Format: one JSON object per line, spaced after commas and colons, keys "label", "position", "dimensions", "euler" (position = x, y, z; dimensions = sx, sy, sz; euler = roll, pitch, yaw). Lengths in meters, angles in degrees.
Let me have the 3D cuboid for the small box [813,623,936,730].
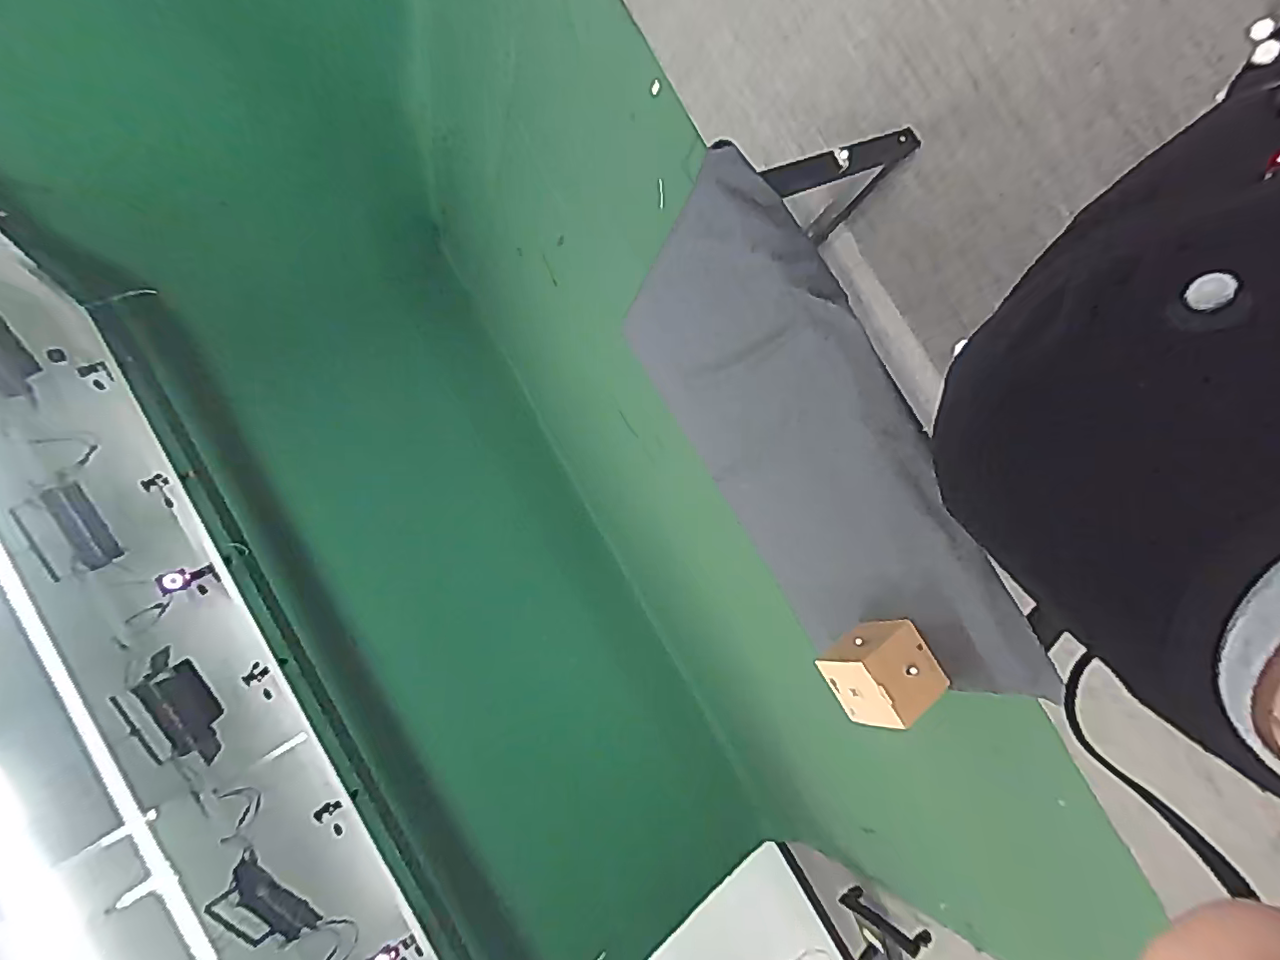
{"label": "small box", "position": [0.546, 0.446, 1.249], "dimensions": [0.168, 0.176, 0.179], "euler": [59, 154, 6]}
